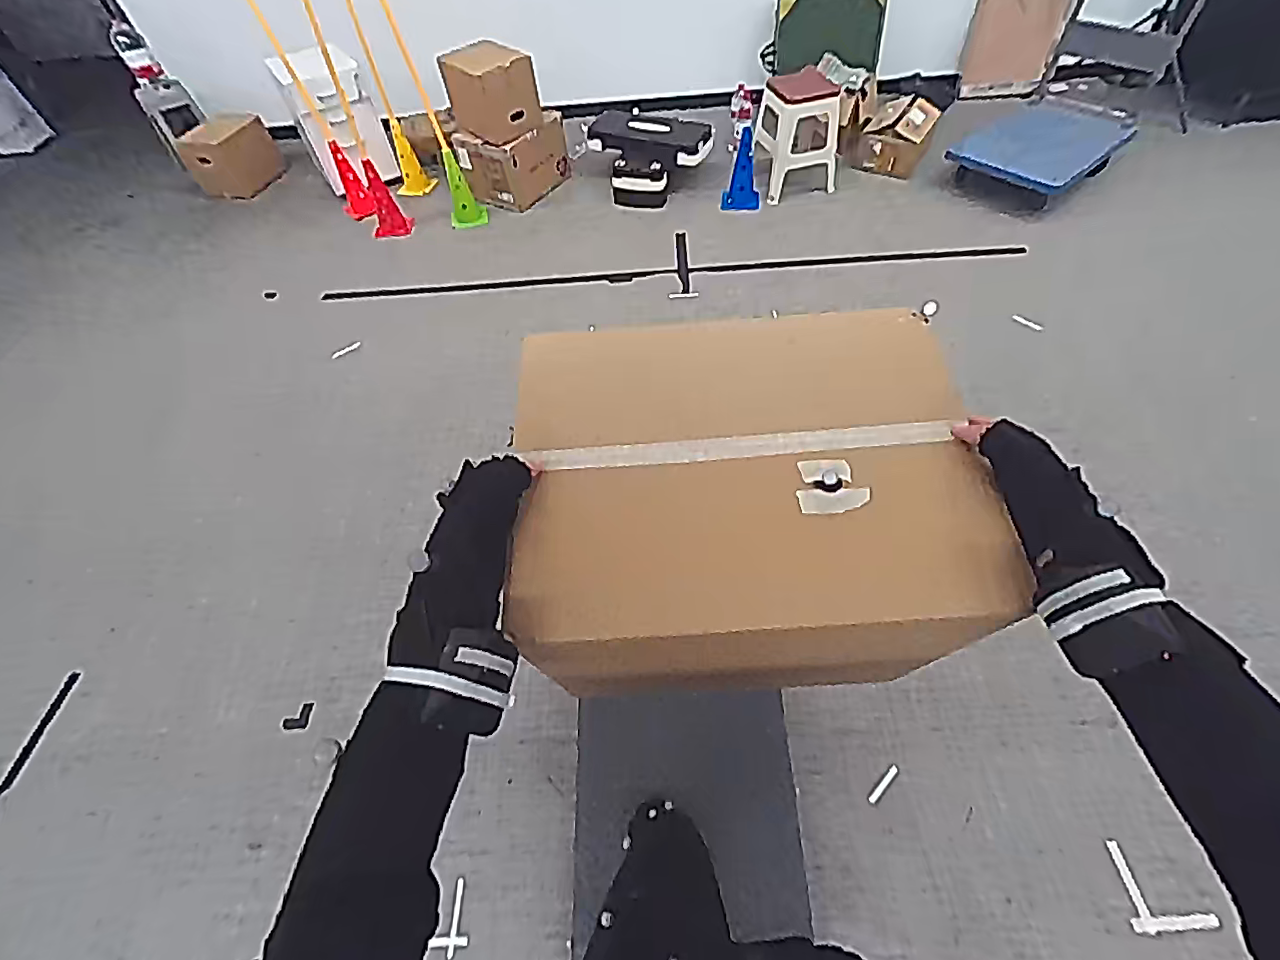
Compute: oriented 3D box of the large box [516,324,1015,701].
[{"bbox_3d":[0.094,0.057,0.625,0.408,0.320,0.320,-4,61,1],"label":"large box"}]
